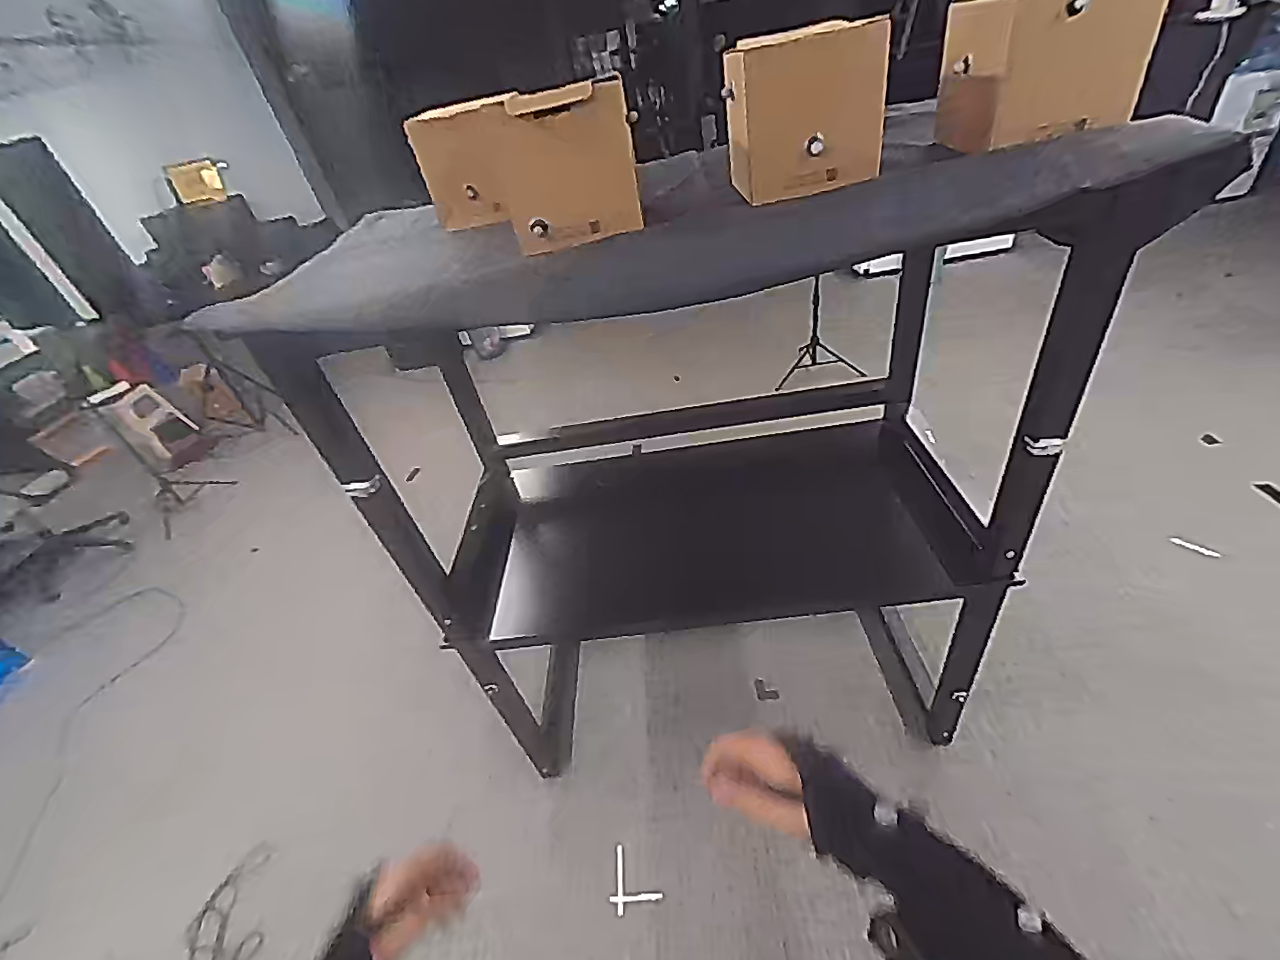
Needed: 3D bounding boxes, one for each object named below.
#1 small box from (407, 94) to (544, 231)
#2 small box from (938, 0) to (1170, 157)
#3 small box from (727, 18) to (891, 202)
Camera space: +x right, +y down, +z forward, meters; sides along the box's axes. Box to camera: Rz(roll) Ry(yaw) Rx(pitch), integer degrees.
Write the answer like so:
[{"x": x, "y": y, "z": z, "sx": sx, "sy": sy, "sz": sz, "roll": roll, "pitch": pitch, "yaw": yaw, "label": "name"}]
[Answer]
[{"x": -0.274, "y": -0.555, "z": 0.947, "sx": 0.168, "sy": 0.176, "sz": 0.179, "roll": -9, "pitch": 39, "yaw": 4, "label": "small box"}, {"x": 0.508, "y": -0.529, "z": 0.692, "sx": 0.168, "sy": 0.176, "sz": 0.179, "roll": -8, "pitch": 37, "yaw": 7, "label": "small box"}, {"x": 0.212, "y": -0.486, "z": 0.722, "sx": 0.168, "sy": 0.176, "sz": 0.179, "roll": -9, "pitch": 37, "yaw": 6, "label": "small box"}]
